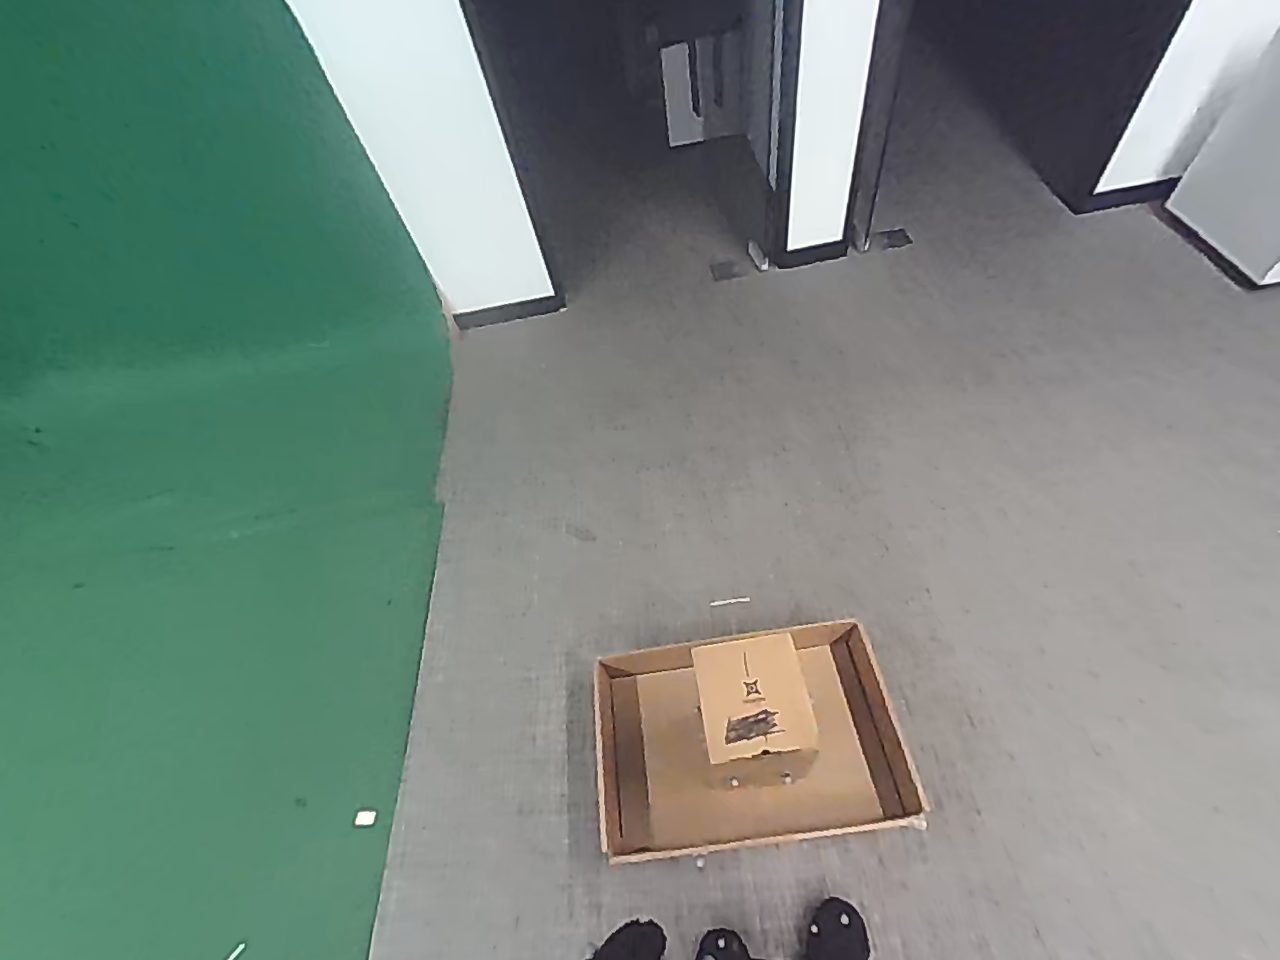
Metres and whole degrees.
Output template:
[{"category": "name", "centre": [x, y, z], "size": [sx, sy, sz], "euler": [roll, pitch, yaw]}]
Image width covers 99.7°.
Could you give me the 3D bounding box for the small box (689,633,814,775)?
[{"category": "small box", "centre": [0.180, 0.379, 0.899], "size": [0.168, 0.176, 0.179], "euler": [-10, 51, 4]}]

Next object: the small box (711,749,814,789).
[{"category": "small box", "centre": [0.206, 0.466, 1.016], "size": [0.179, 0.176, 0.168], "euler": [-13, 52, 1]}]
